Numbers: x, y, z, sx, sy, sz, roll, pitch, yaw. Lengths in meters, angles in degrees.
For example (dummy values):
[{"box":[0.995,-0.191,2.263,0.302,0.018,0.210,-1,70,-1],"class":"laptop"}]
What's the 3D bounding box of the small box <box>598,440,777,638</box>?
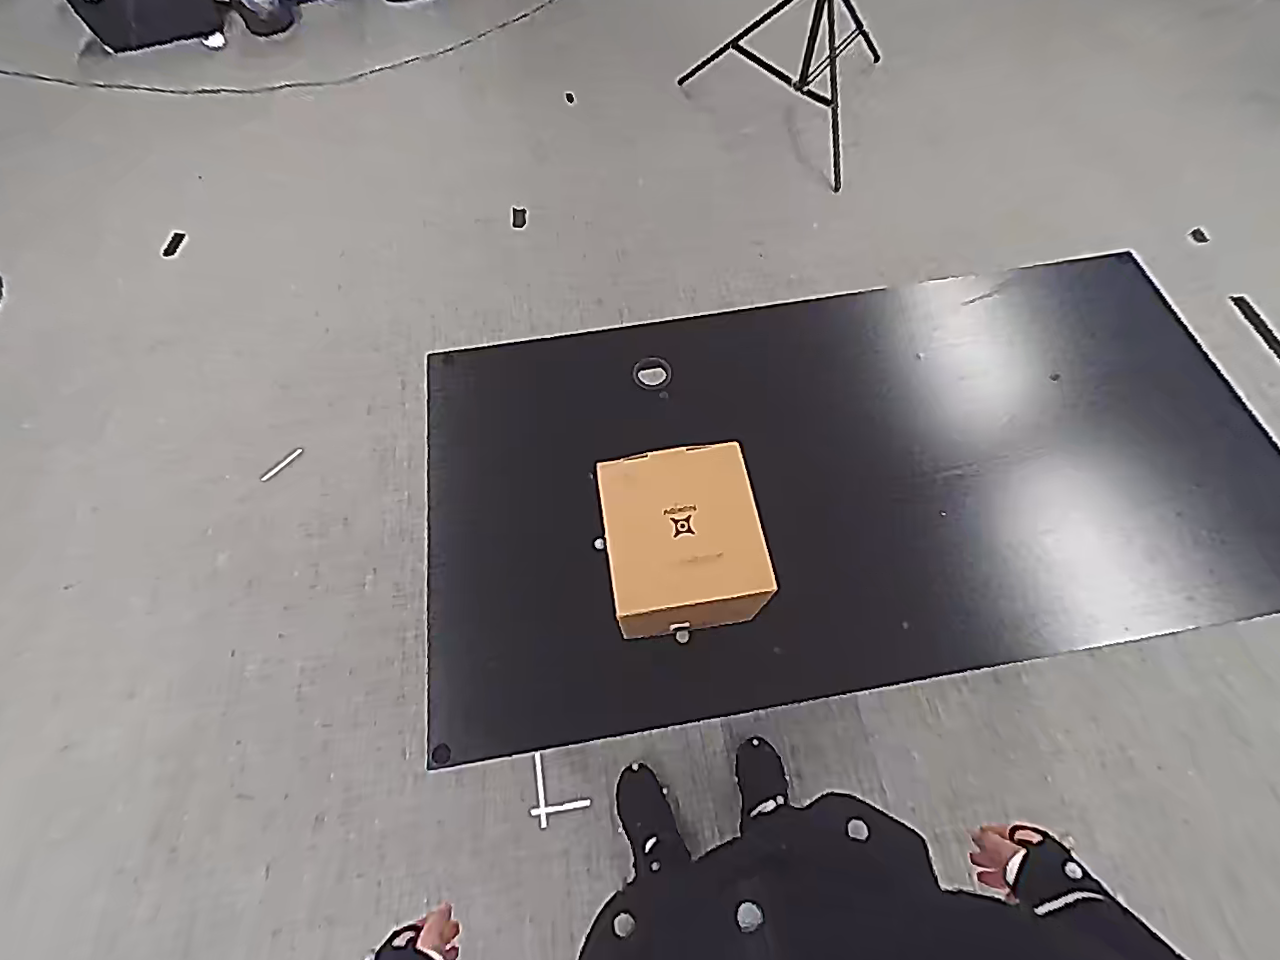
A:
[{"box":[0.046,0.077,0.641,0.168,0.176,0.179,-9,66,-2],"class":"small box"}]
